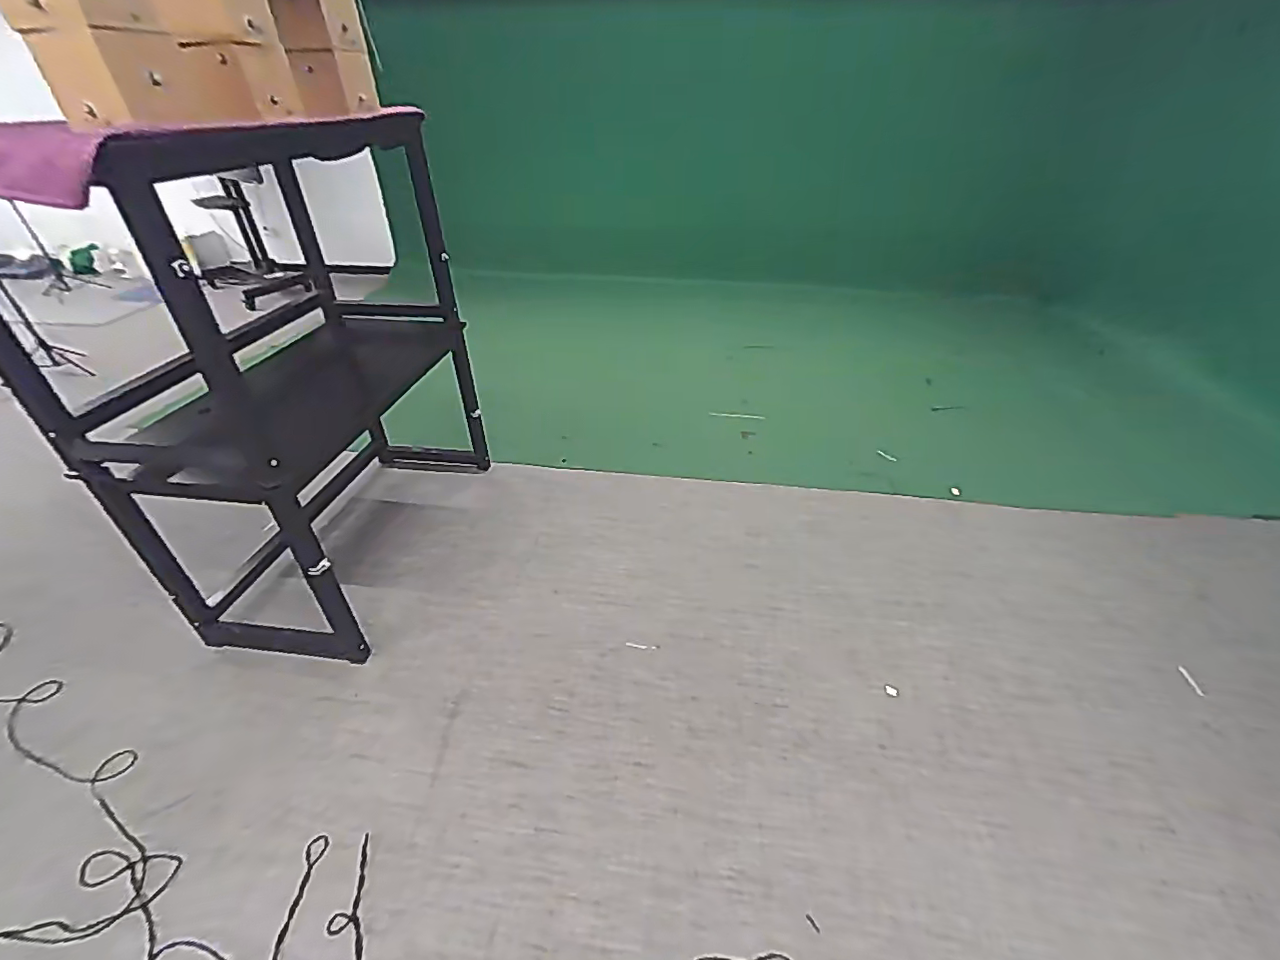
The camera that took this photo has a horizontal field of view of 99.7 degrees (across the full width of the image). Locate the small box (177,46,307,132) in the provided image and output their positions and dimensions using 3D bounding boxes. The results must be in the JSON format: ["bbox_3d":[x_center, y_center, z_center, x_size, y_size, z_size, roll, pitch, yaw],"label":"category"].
[{"bbox_3d":[-1.007,-0.996,1.385,0.179,0.176,0.168,6,37,10],"label":"small box"}]

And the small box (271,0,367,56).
[{"bbox_3d":[-0.950,-1.356,1.594,0.179,0.176,0.168,7,38,10],"label":"small box"}]

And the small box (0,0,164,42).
[{"bbox_3d":[-1.059,-0.924,1.004,0.179,0.176,0.168,4,36,7],"label":"small box"}]

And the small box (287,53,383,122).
[{"bbox_3d":[-0.946,-1.222,1.691,0.179,0.176,0.168,8,38,10],"label":"small box"}]

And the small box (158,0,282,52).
[{"bbox_3d":[-1.007,-1.123,1.284,0.179,0.176,0.168,4,38,5],"label":"small box"}]
